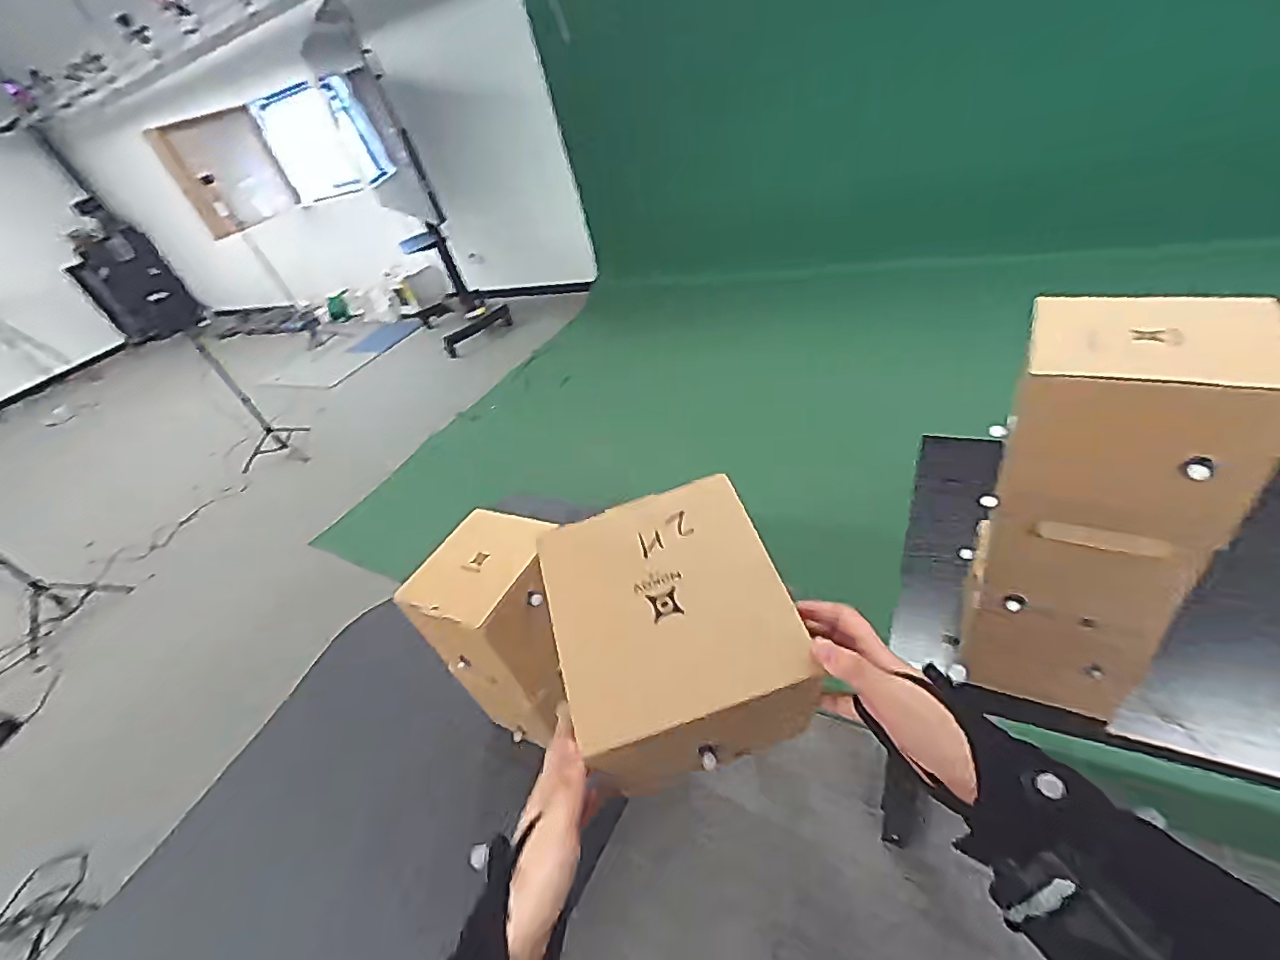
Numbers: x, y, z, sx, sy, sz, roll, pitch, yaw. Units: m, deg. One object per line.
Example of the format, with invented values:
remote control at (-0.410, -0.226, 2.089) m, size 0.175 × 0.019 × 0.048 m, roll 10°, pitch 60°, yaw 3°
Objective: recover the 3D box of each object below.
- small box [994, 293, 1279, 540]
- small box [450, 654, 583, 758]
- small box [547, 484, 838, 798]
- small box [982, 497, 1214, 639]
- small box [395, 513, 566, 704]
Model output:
small box at (0.465, -0.064, 0.521) m, size 0.179 × 0.176 × 0.168 m, roll 10°, pitch 44°, yaw 31°
small box at (-0.151, 0.305, 0.849) m, size 0.179 × 0.176 × 0.168 m, roll 9°, pitch 46°, yaw 32°
small box at (0.039, 0.139, 0.442) m, size 0.168 × 0.176 × 0.179 m, roll -19°, pitch 51°, yaw -2°
small box at (0.507, 0.053, 0.625) m, size 0.168 × 0.176 × 0.179 m, roll 10°, pitch 45°, yaw 30°
small box at (-0.191, 0.175, 0.758) m, size 0.168 × 0.176 × 0.179 m, roll 7°, pitch 45°, yaw 31°
